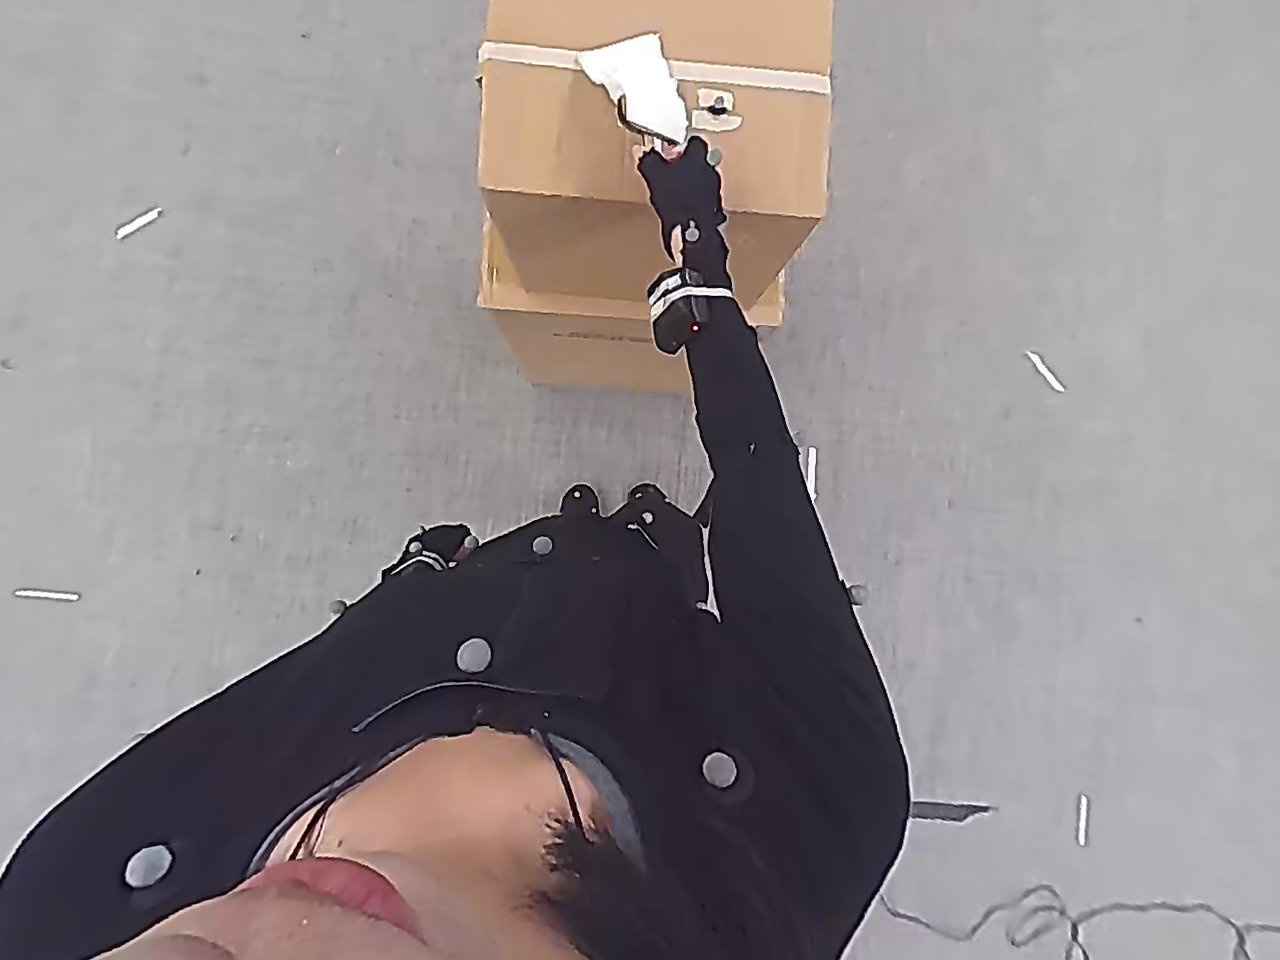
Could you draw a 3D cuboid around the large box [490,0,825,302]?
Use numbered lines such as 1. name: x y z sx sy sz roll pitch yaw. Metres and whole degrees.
1. large box: 0.014 -0.475 0.795 0.408 0.320 0.320 3 88 -5
